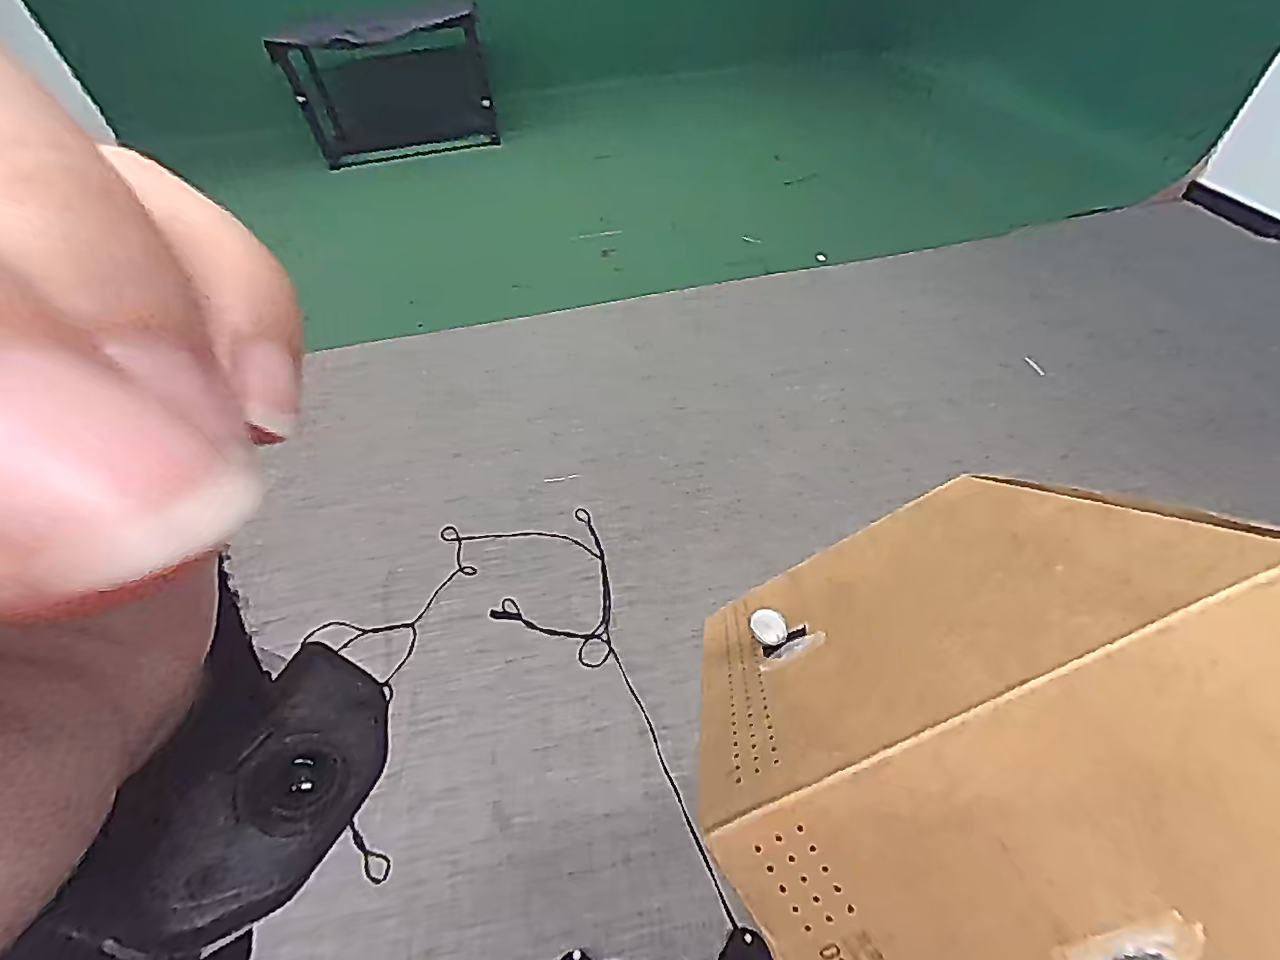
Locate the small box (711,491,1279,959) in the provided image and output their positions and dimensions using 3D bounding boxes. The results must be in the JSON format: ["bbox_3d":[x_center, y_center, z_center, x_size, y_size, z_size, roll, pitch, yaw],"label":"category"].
[{"bbox_3d":[0.140,0.125,0.230,0.176,0.179,0.168,-31,91,9],"label":"small box"}]
